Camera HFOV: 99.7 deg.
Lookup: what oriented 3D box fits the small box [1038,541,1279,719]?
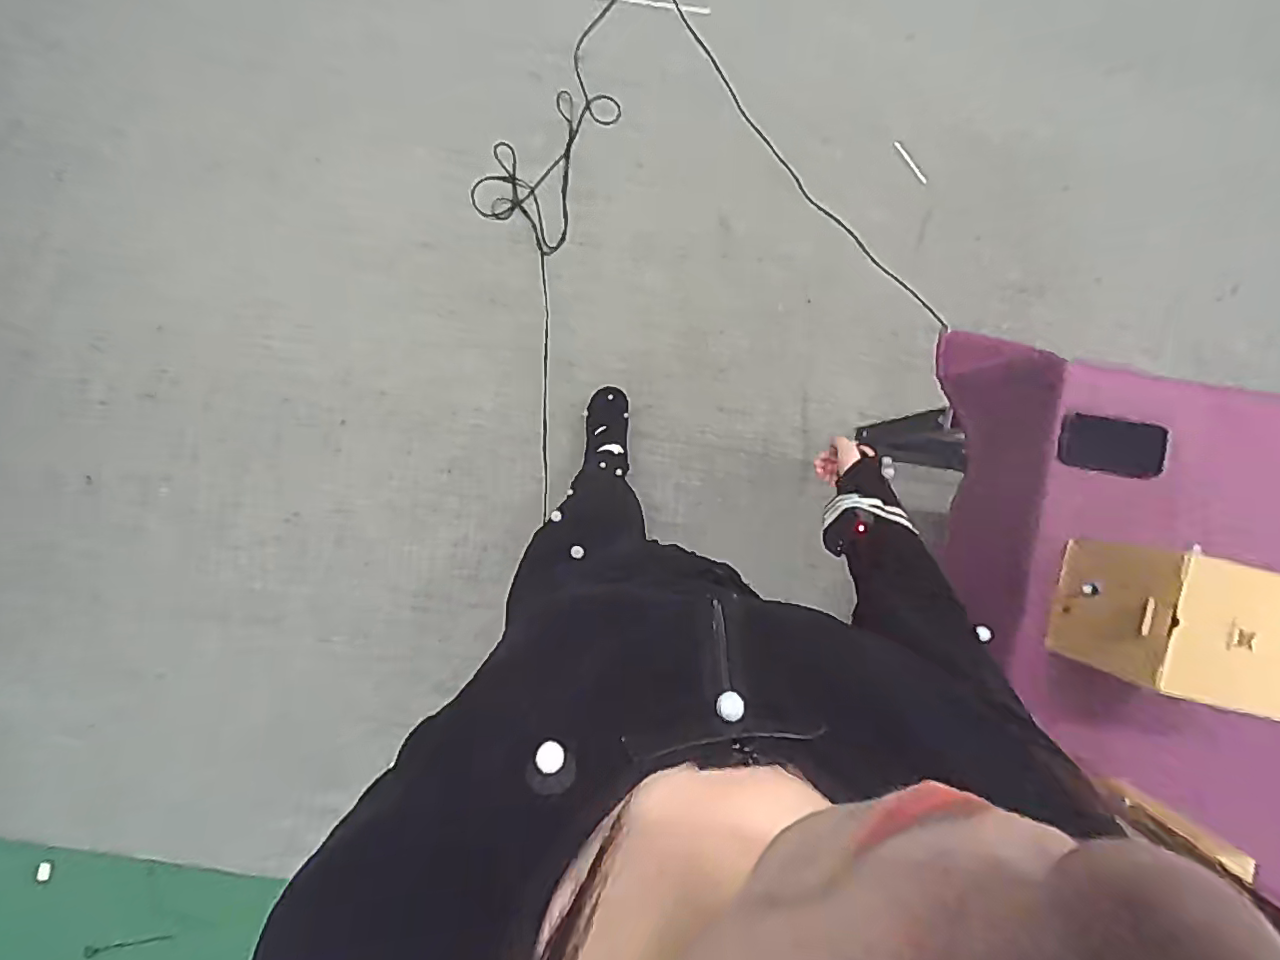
[{"bbox_3d":[0.686,0.184,0.714,0.179,0.176,0.168,14,90,-2],"label":"small box"}]
